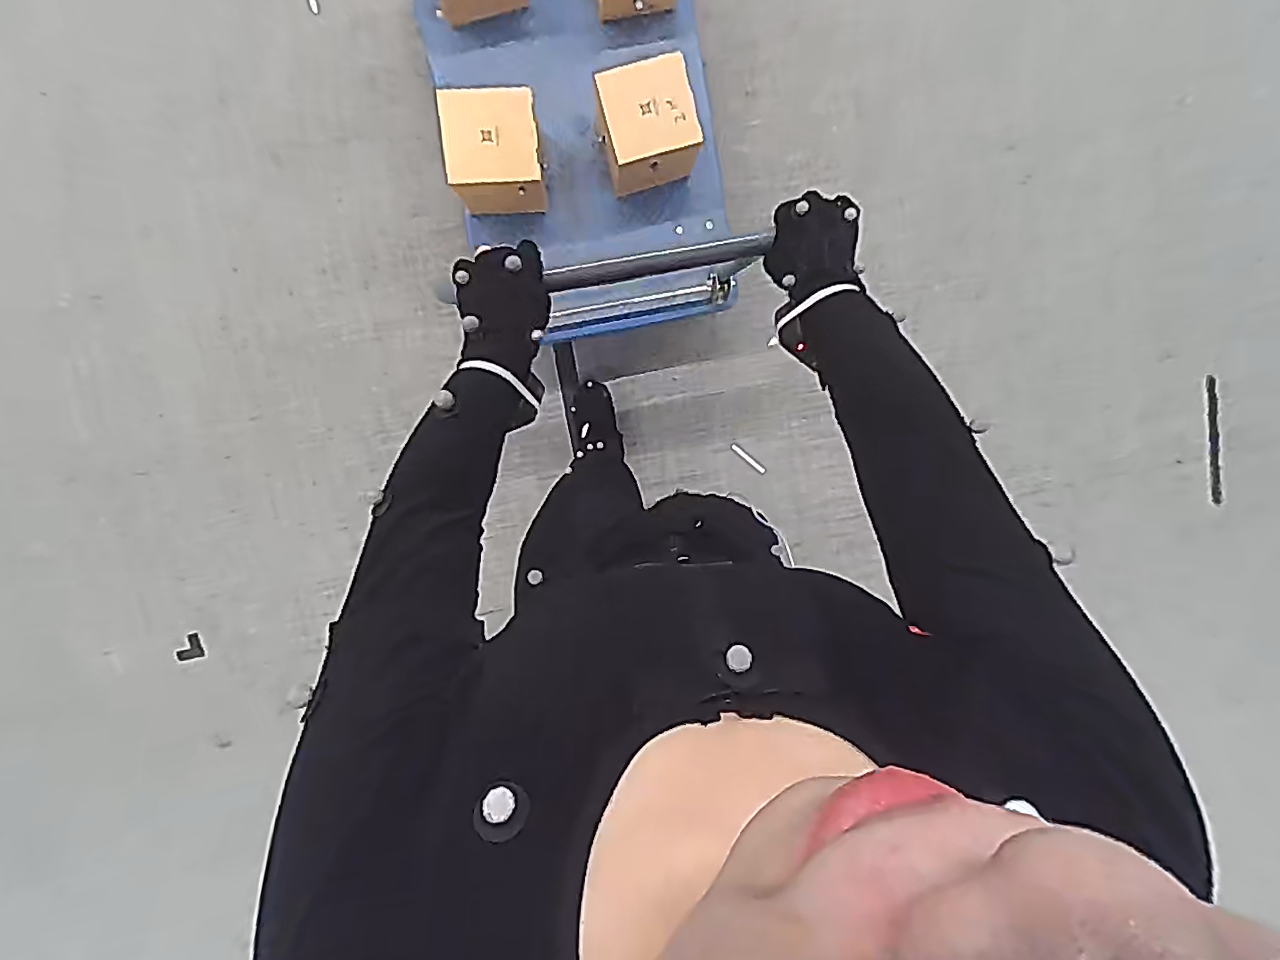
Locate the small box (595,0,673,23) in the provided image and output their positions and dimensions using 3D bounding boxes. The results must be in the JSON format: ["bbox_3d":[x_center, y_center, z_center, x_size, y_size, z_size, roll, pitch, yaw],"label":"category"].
[{"bbox_3d":[-0.019,-1.059,1.060,0.168,0.176,0.179,-13,100,-3],"label":"small box"}]

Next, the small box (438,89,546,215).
[{"bbox_3d":[-0.291,-0.653,1.095,0.179,0.176,0.168,-6,98,-6],"label":"small box"}]

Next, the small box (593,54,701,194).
[{"bbox_3d":[0.009,-0.718,1.112,0.179,0.176,0.168,-17,99,-2],"label":"small box"}]
